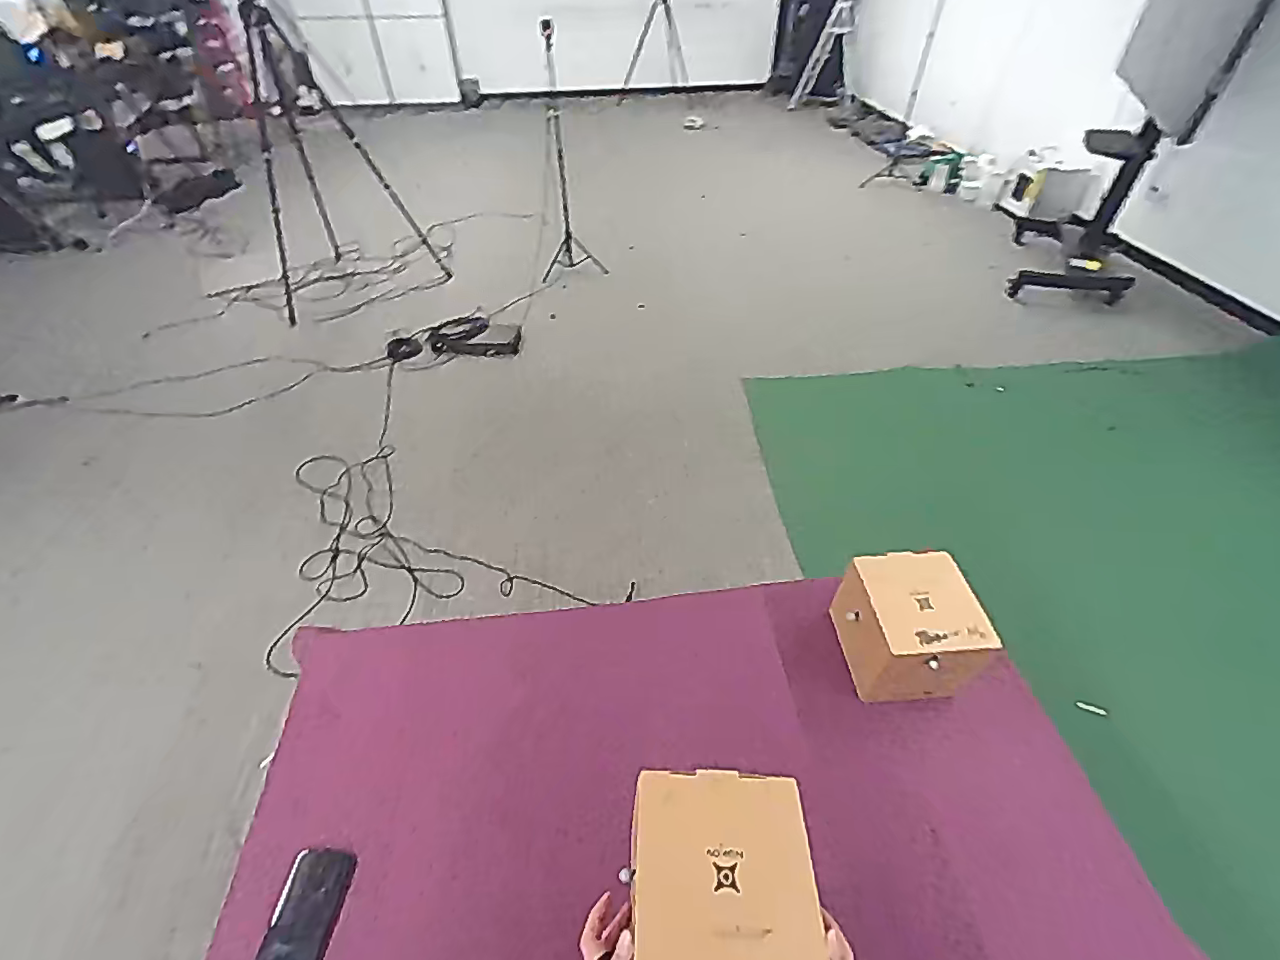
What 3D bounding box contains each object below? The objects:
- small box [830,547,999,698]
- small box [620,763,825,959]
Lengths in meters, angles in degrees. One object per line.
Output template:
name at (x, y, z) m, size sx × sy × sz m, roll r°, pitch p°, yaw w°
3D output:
small box at (0.429, 0.233, 0.885) m, size 0.168 × 0.176 × 0.179 m, roll -4°, pitch 45°, yaw -1°
small box at (0.068, 0.410, 0.532) m, size 0.168 × 0.176 × 0.179 m, roll 3°, pitch 39°, yaw 1°
